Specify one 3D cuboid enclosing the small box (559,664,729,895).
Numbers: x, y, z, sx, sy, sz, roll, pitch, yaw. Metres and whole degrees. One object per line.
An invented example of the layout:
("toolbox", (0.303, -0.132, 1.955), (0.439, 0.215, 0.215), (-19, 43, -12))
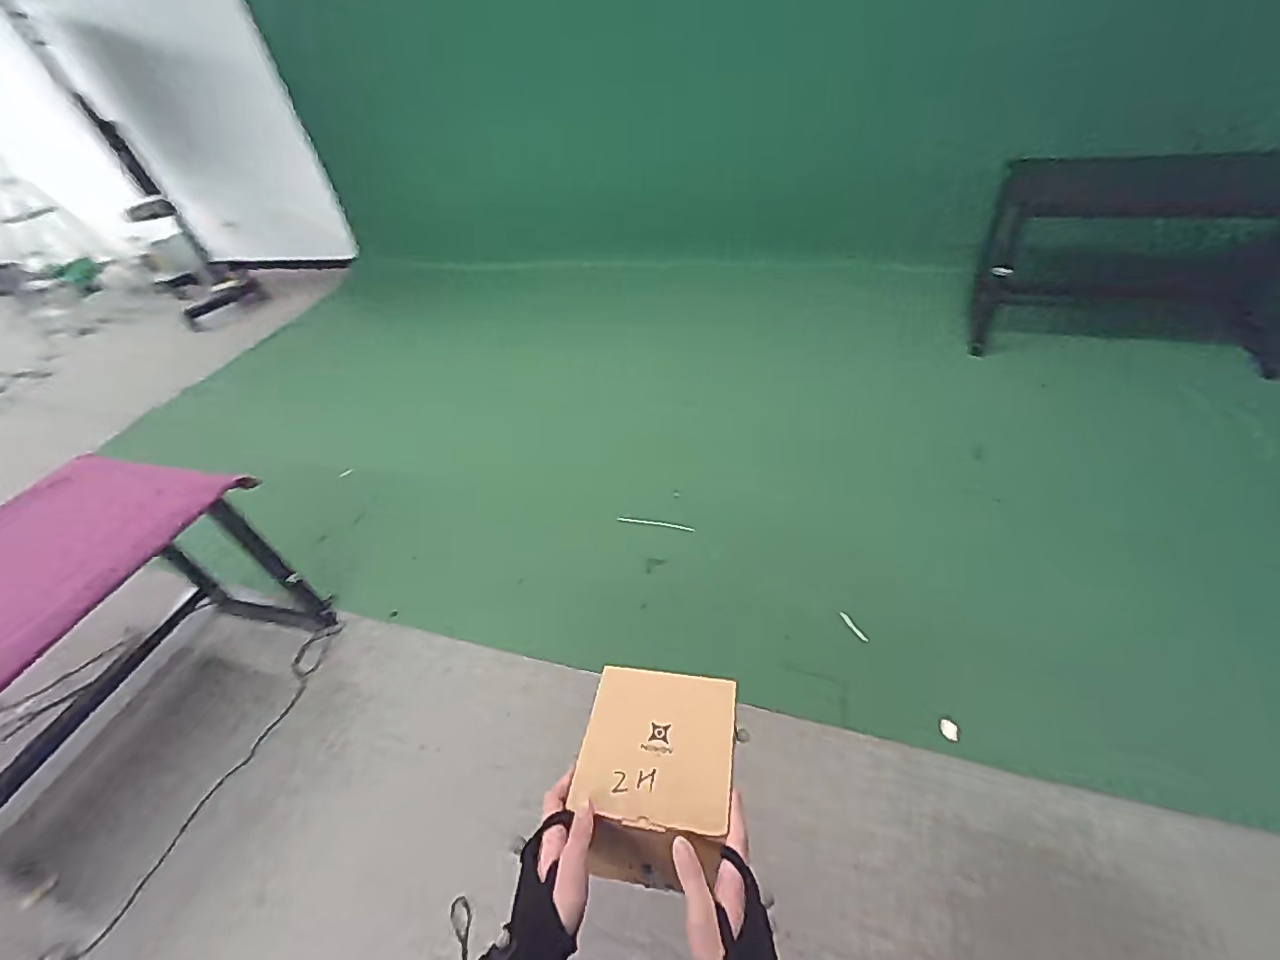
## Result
("small box", (0.017, 0.351, 0.645), (0.168, 0.176, 0.179), (2, 37, 11))
